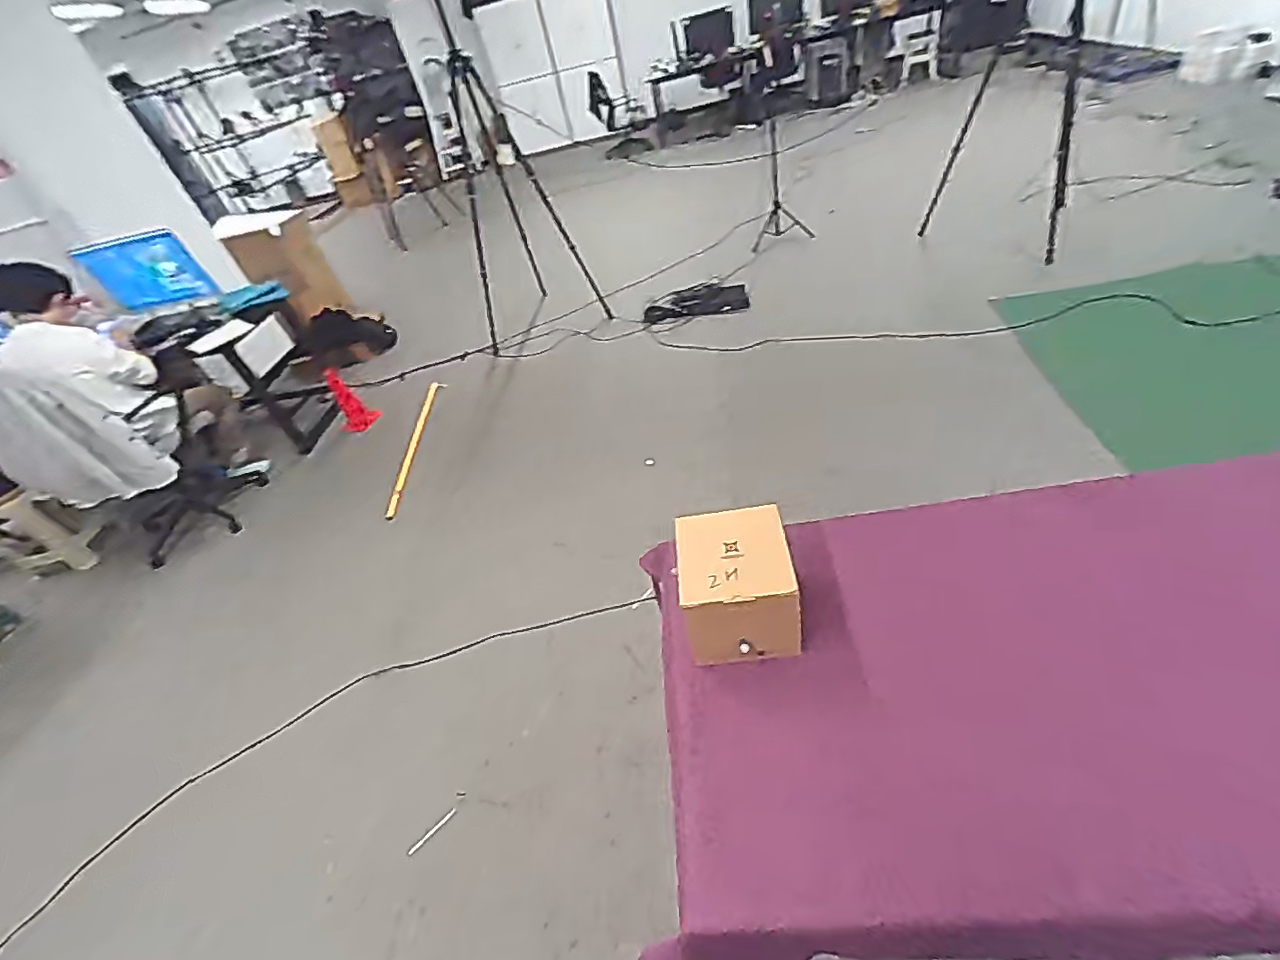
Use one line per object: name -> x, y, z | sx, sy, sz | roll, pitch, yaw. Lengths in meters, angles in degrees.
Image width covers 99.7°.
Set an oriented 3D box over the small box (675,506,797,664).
small box -> 0.150, 0.168, 0.864 | 0.168, 0.176, 0.179 | -10, 41, 9
